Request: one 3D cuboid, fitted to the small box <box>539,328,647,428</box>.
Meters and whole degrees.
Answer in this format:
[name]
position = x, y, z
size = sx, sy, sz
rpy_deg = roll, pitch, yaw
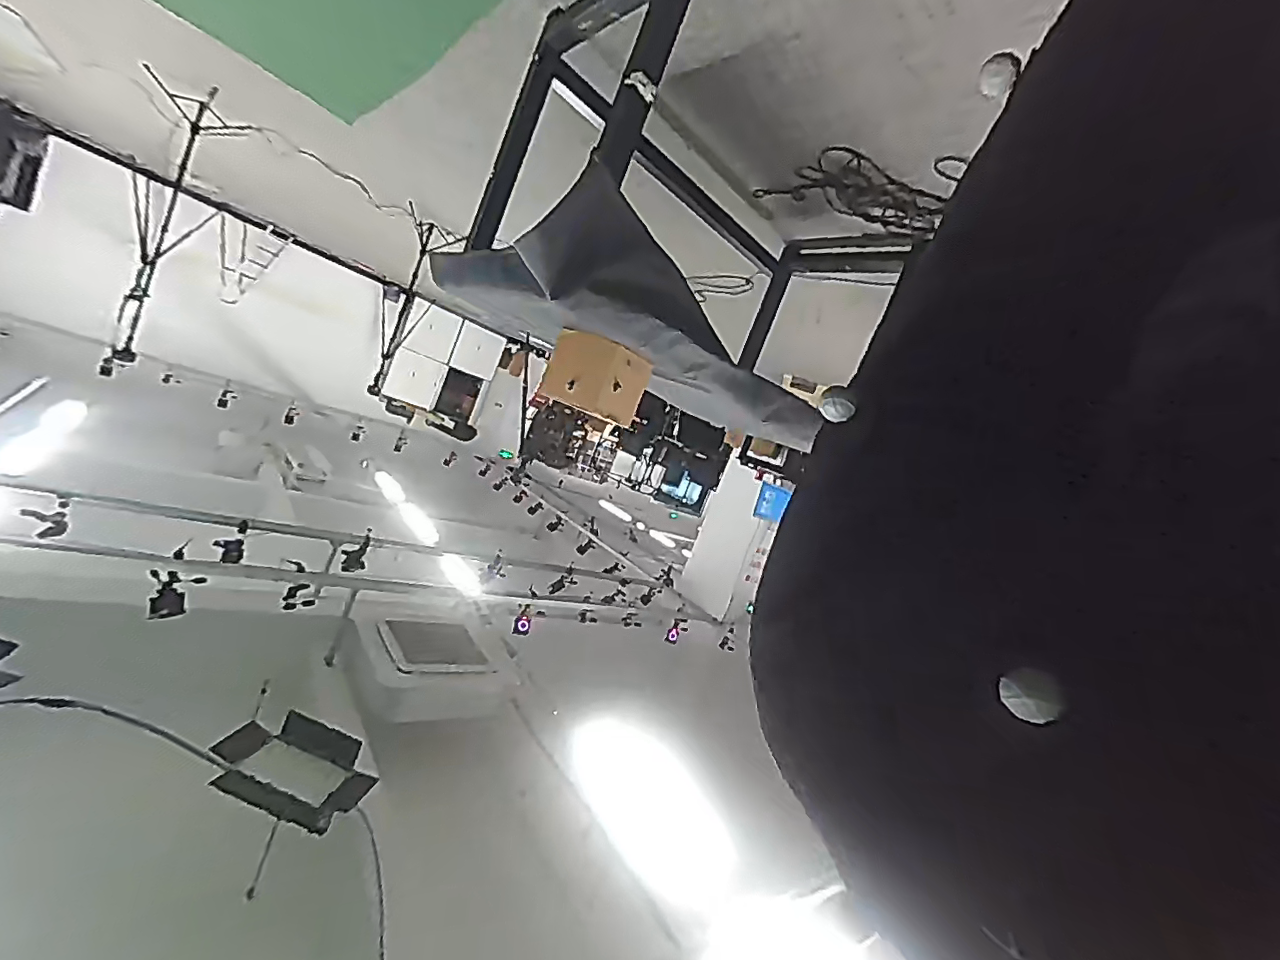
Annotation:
[small box]
position = -0.102, -0.243, 1.279
size = 0.179, 0.176, 0.168
rpy_deg = 26, -176, 30
